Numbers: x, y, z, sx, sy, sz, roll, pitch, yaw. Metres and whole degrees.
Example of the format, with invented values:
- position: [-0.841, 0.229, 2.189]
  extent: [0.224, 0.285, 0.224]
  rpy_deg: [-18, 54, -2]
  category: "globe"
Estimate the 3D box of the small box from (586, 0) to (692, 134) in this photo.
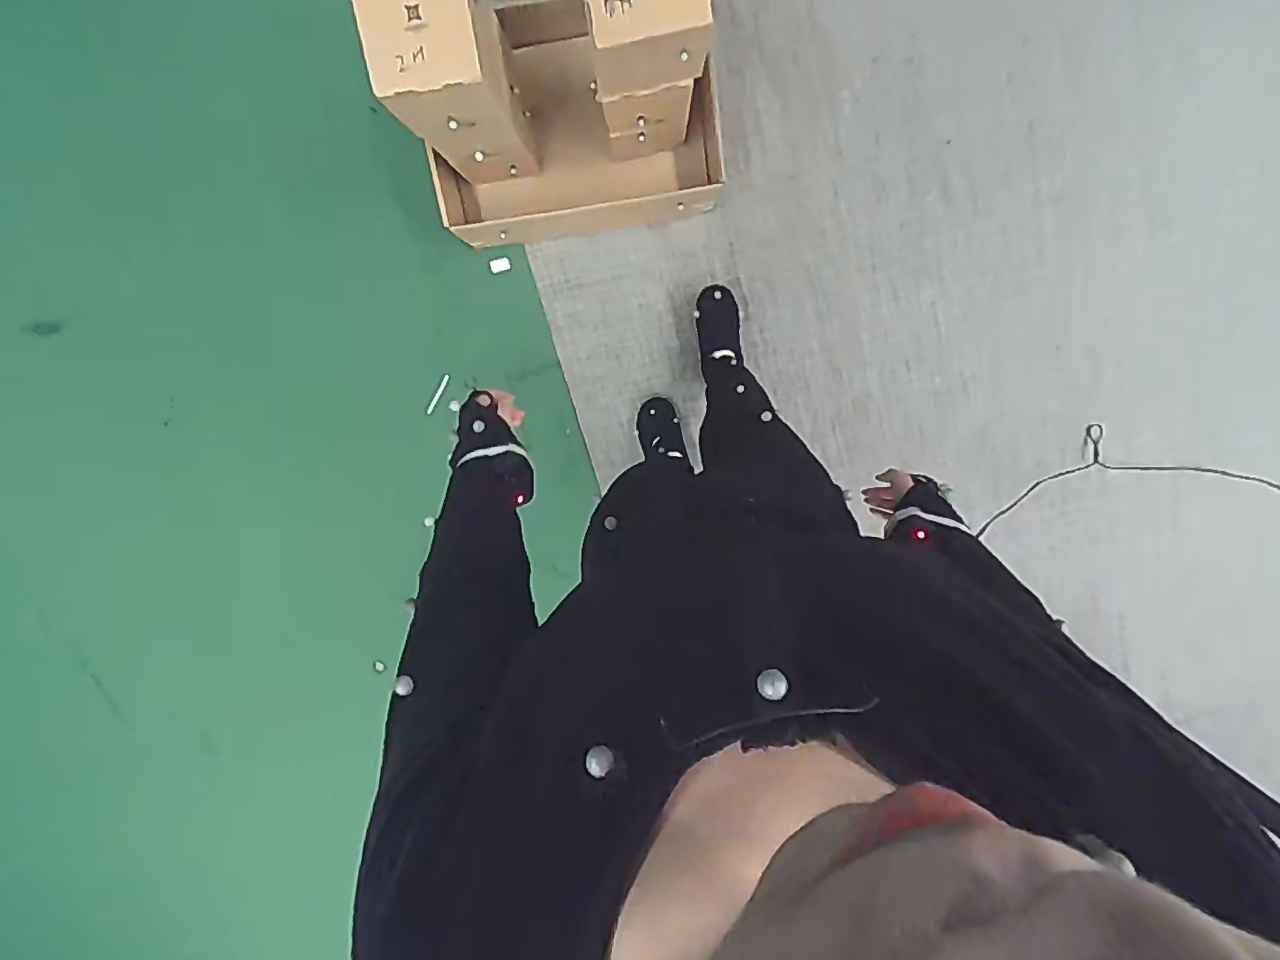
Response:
- position: [-0.002, -0.773, 0.993]
  extent: [0.168, 0.176, 0.179]
  rpy_deg: [-9, 105, 4]
  category: "small box"

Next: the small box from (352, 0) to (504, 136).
- position: [-0.326, -0.677, 0.852]
  extent: [0.168, 0.176, 0.179]
  rpy_deg: [-7, 105, 2]
  category: "small box"

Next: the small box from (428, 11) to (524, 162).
- position: [-0.322, -0.723, 1.011]
  extent: [0.168, 0.176, 0.179]
  rpy_deg: [-5, 106, 1]
  category: "small box"
